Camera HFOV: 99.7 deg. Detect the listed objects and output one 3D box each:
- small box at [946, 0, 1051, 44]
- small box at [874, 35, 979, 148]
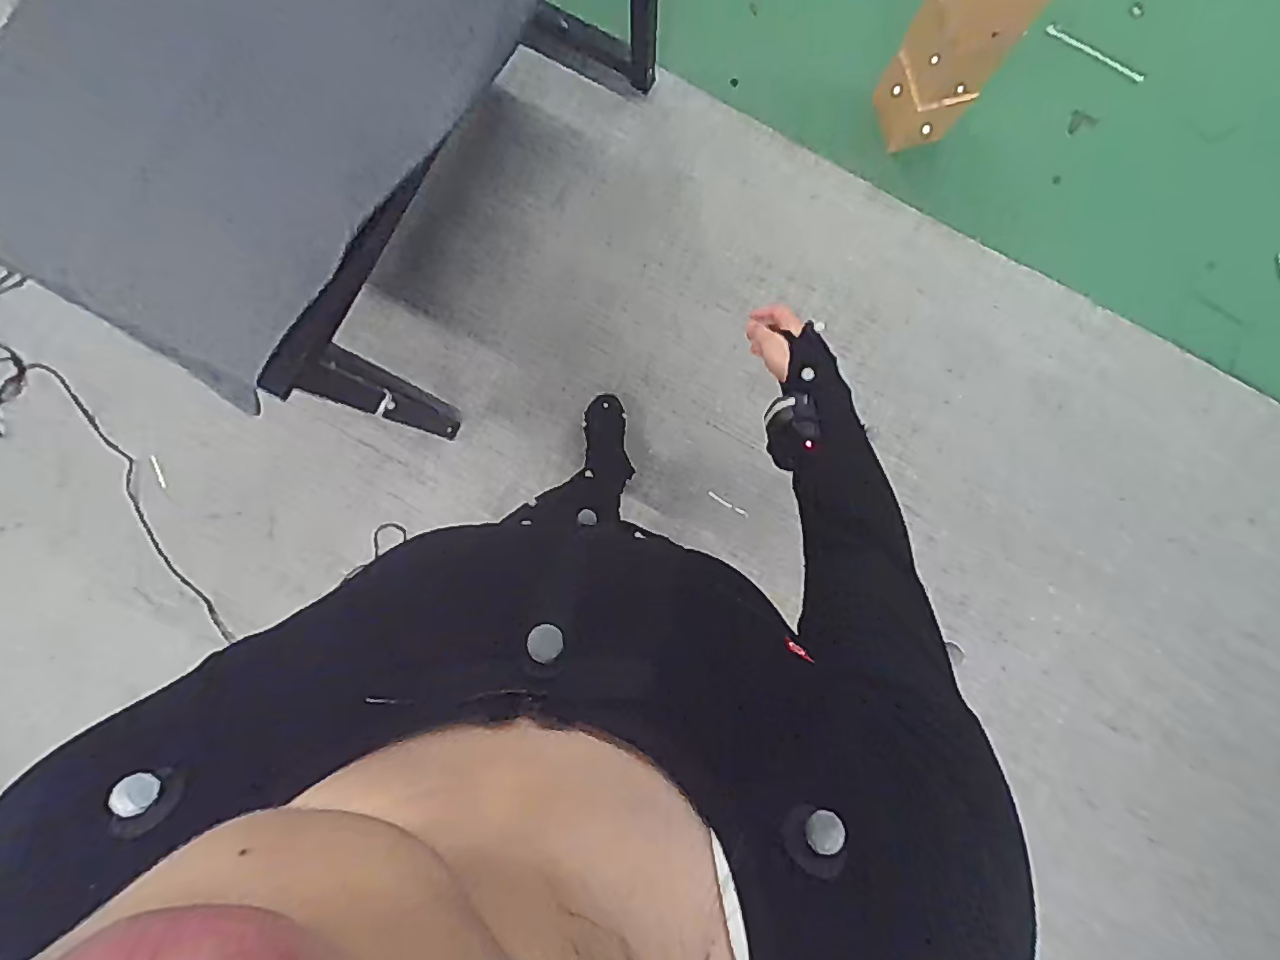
[{"bbox_3d":[0.761,-1.063,1.121,0.168,0.176,0.179,4,87,0],"label":"small box"},{"bbox_3d":[0.758,-1.028,1.448,0.168,0.176,0.179,-16,87,-1],"label":"small box"}]
